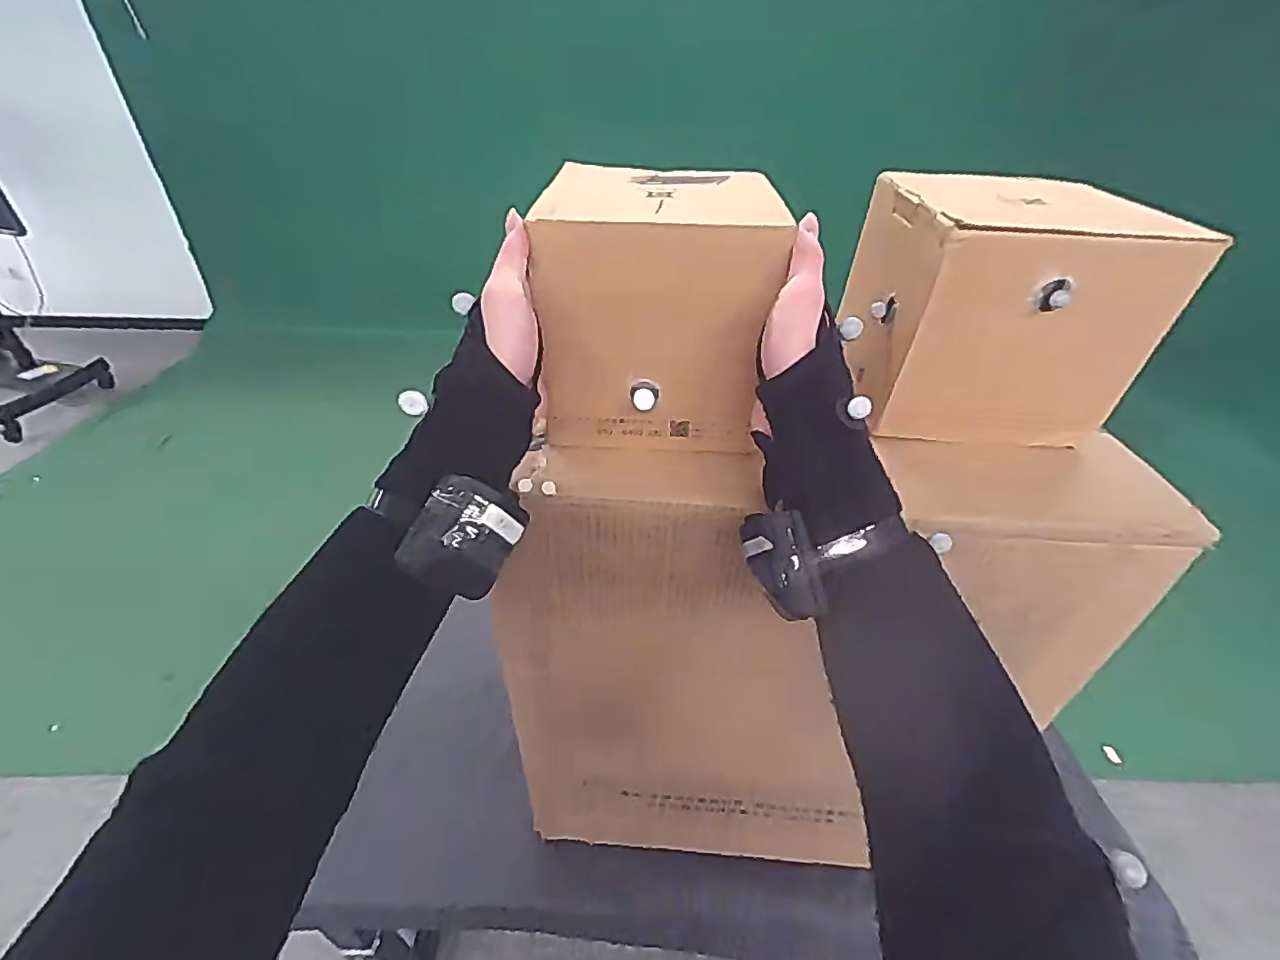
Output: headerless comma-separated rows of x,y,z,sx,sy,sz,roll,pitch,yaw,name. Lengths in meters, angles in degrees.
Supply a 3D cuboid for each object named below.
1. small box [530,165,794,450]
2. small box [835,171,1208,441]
0.015,-0.145,0.442,0.168,0.176,0.179,3,39,2,small box
0.281,-0.148,0.459,0.179,0.176,0.168,5,40,-1,small box
